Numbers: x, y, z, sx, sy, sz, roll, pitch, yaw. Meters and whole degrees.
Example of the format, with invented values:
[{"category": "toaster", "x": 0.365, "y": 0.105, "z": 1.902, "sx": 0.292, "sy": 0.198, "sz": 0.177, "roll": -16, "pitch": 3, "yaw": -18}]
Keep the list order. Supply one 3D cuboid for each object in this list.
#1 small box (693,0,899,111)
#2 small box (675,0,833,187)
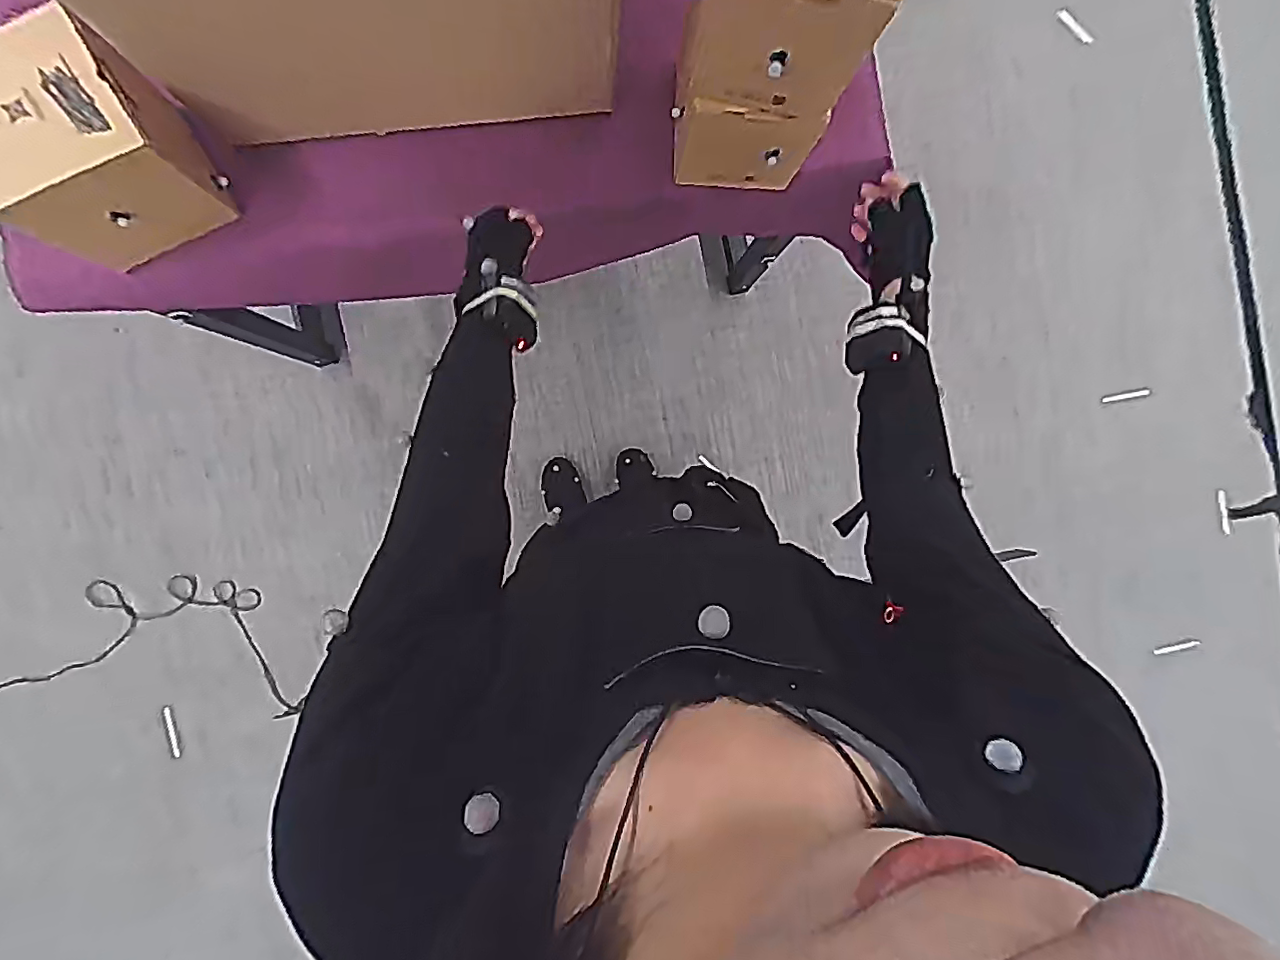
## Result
[{"category": "small box", "x": 0.155, "y": -0.514, "z": 0.539, "sx": 0.168, "sy": 0.176, "sz": 0.179, "roll": 8, "pitch": 92, "yaw": -6}, {"category": "small box", "x": 0.140, "y": -0.510, "z": 0.704, "sx": 0.168, "sy": 0.176, "sz": 0.179, "roll": 0, "pitch": 90, "yaw": -5}]
